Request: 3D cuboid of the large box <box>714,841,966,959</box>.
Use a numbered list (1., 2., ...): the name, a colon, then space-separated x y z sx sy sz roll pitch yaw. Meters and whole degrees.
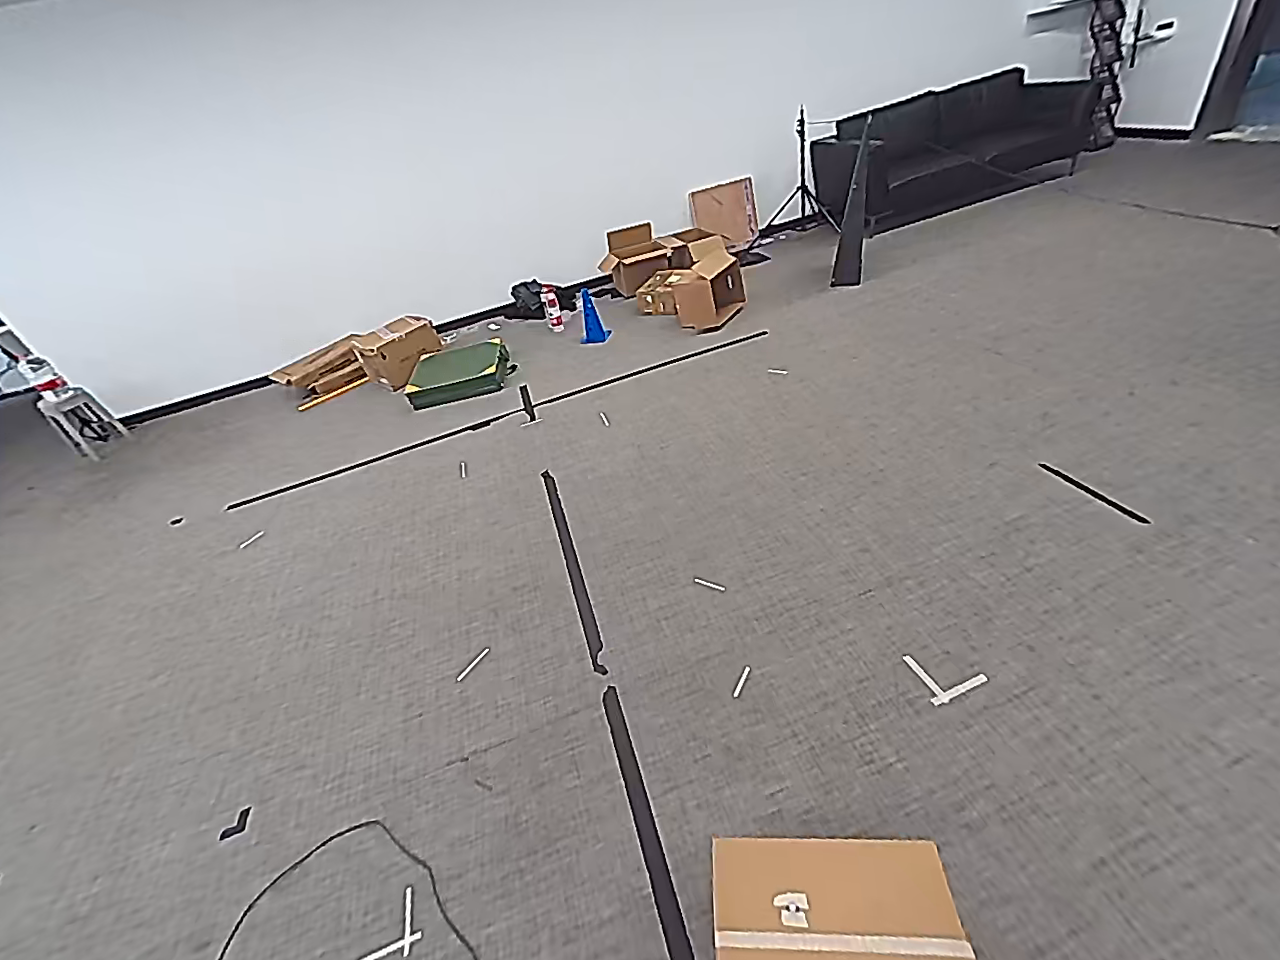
1. large box: 0.360 0.896 0.988 0.408 0.320 0.320 -7 35 11
